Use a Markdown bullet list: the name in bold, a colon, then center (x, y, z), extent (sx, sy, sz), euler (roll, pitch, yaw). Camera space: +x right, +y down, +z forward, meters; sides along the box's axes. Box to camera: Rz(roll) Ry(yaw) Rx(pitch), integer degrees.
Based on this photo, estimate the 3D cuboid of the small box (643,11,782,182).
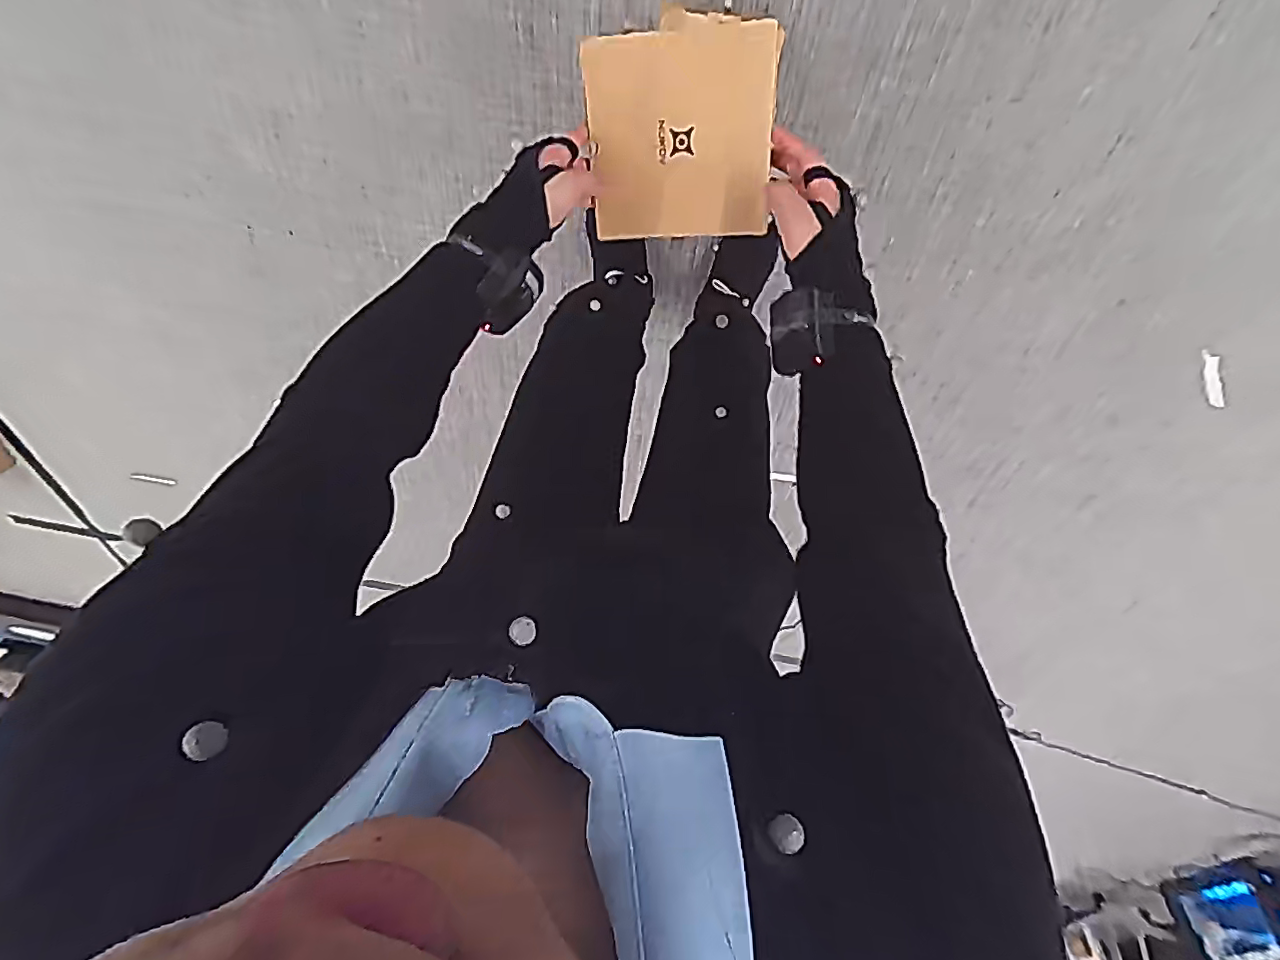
- **small box**: center (0.107, -0.584, 0.822), extent (0.168, 0.176, 0.179), euler (11, 132, 0)
